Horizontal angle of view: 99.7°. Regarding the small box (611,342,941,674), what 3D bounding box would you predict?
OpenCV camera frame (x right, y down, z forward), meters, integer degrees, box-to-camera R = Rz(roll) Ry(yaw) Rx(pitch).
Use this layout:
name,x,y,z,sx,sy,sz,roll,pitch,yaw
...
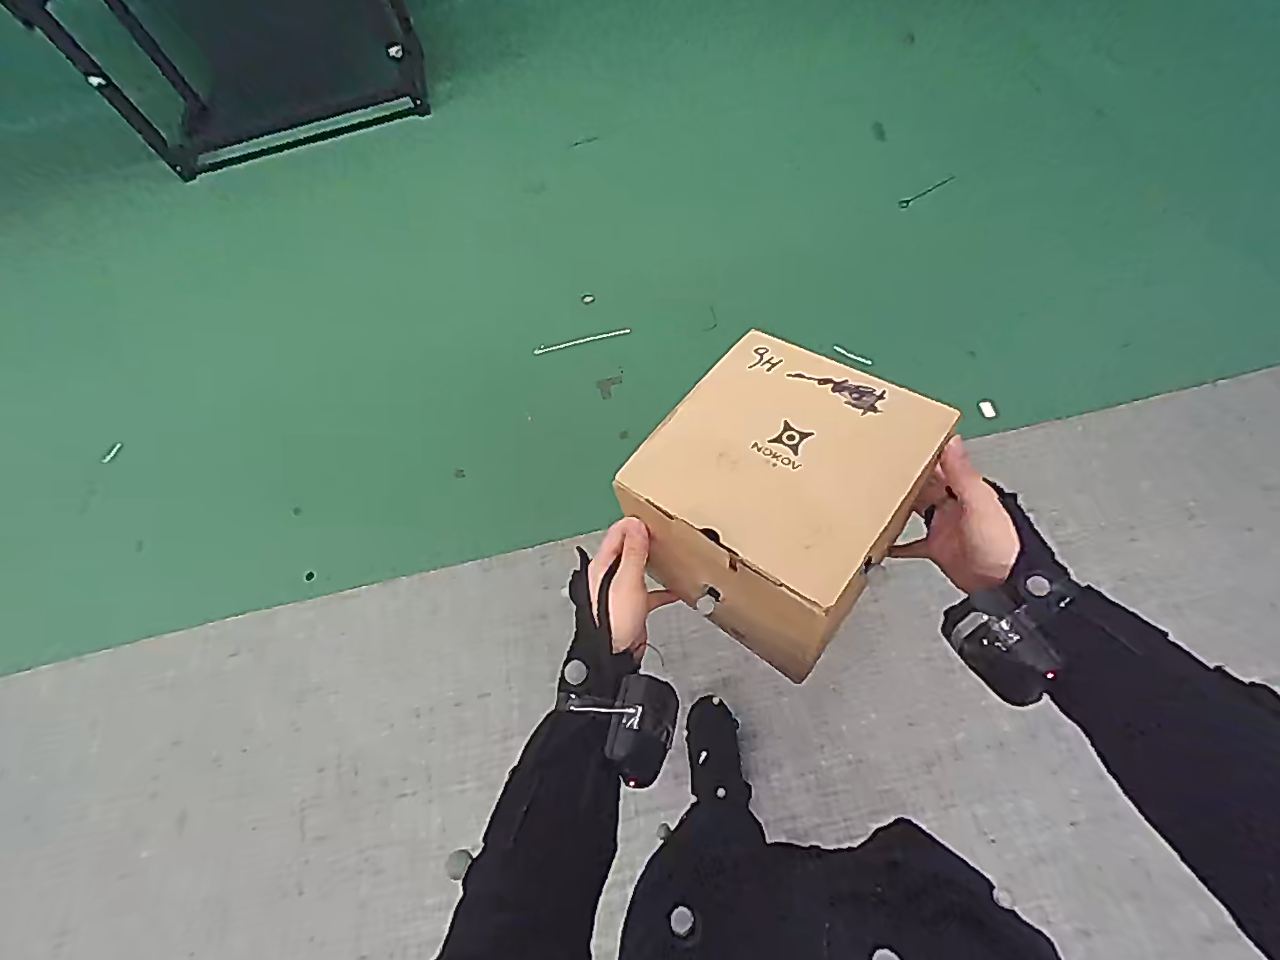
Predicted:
name,x,y,z,sx,sy,sz,roll,pitch,yaw
small box,0.107,0.028,0.442,0.168,0.176,0.179,32,68,28
